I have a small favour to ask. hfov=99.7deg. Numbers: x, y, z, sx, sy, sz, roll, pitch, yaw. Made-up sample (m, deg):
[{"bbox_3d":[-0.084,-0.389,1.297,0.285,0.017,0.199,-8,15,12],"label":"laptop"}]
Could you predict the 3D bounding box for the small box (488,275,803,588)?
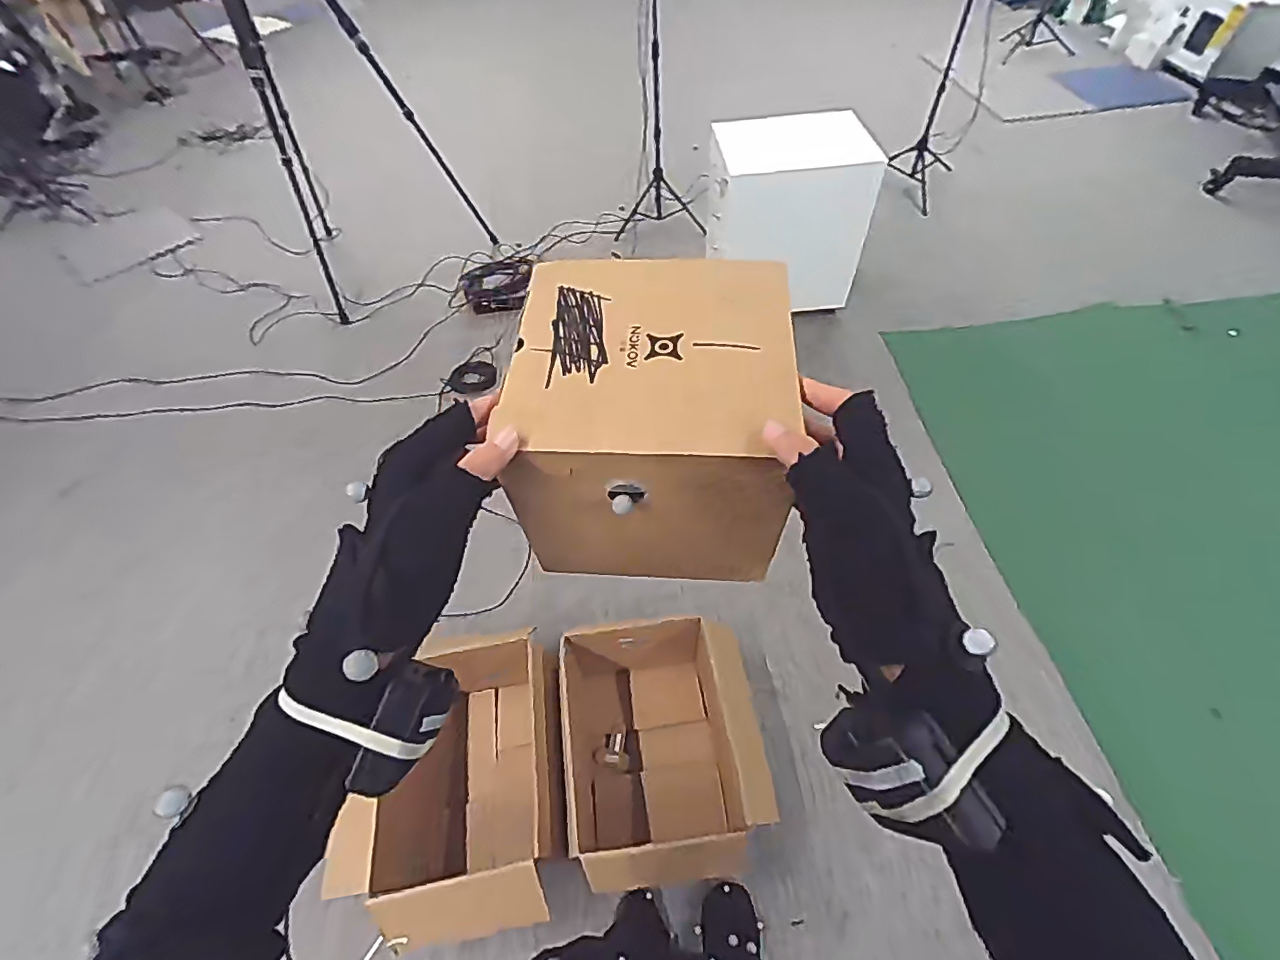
[{"bbox_3d":[0.012,-0.029,0.402,0.179,0.176,0.168,2,57,4],"label":"small box"}]
